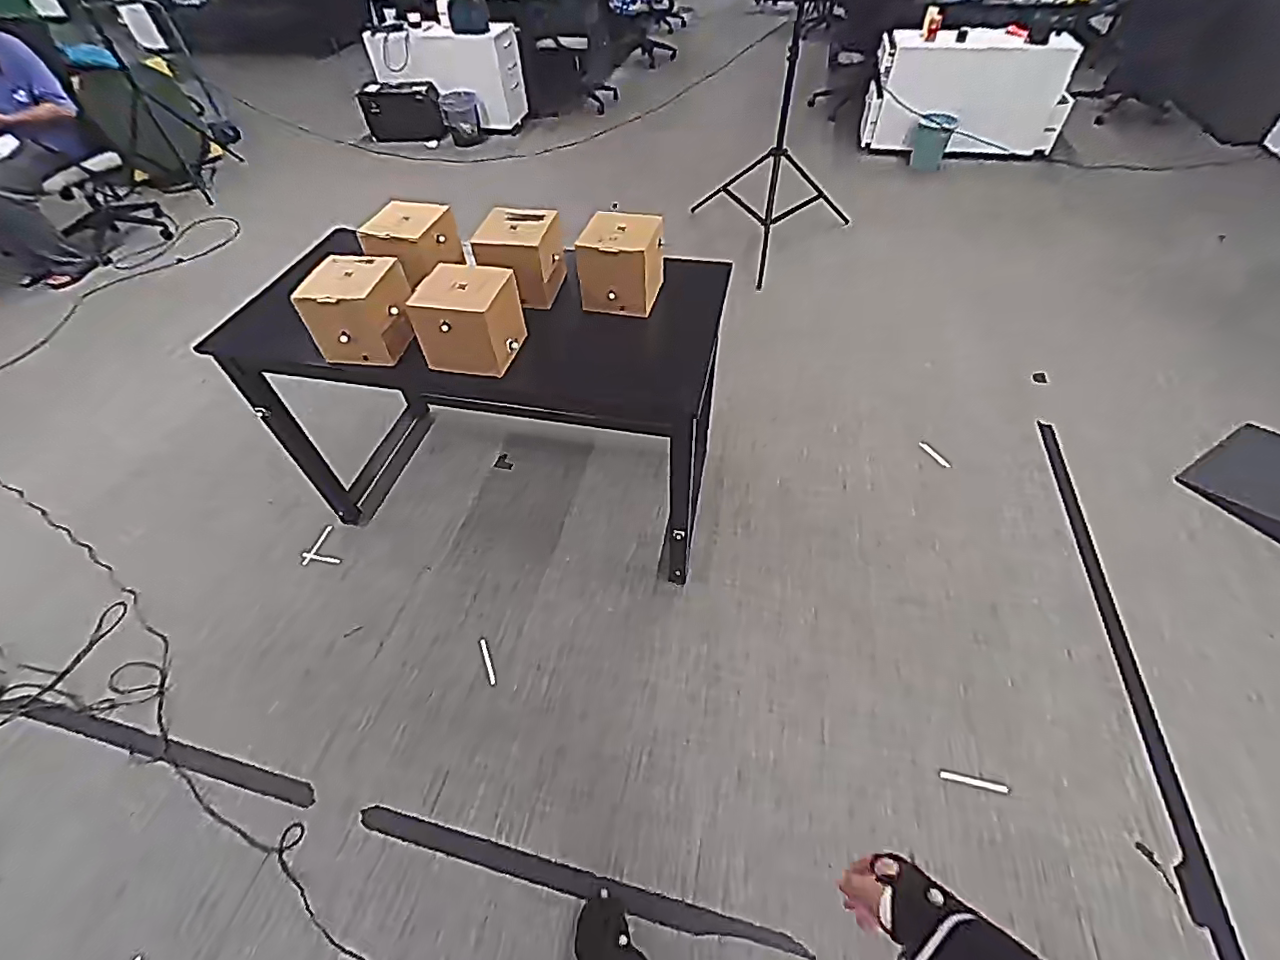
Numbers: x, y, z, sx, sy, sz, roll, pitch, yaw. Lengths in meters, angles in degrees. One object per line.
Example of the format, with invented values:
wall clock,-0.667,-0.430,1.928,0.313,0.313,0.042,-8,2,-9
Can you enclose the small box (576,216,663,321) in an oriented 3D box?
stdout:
small box,-0.045,-0.515,1.316,0.168,0.176,0.179,10,51,11

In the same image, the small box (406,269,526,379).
small box,-0.370,-0.340,1.185,0.179,0.176,0.168,8,51,8

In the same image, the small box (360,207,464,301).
small box,-0.572,-0.575,1.392,0.168,0.176,0.179,10,51,10

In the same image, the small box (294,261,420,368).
small box,-0.623,-0.371,1.220,0.168,0.176,0.179,4,50,6
